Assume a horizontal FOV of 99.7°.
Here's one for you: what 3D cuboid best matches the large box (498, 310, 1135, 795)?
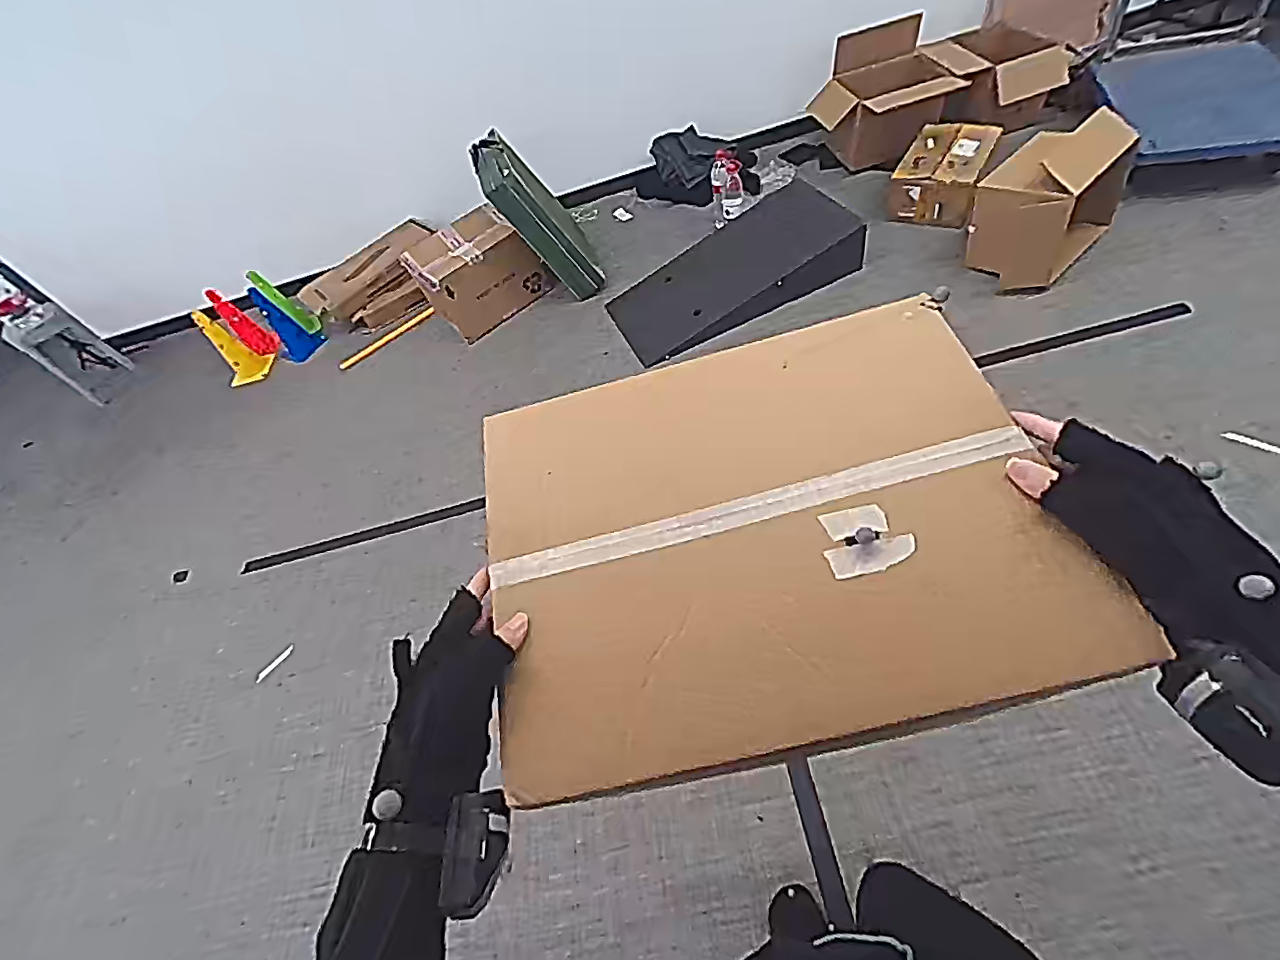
[{"bbox_3d":[0.113,0.098,0.545,0.408,0.320,0.320,-15,60,3],"label":"large box"}]
